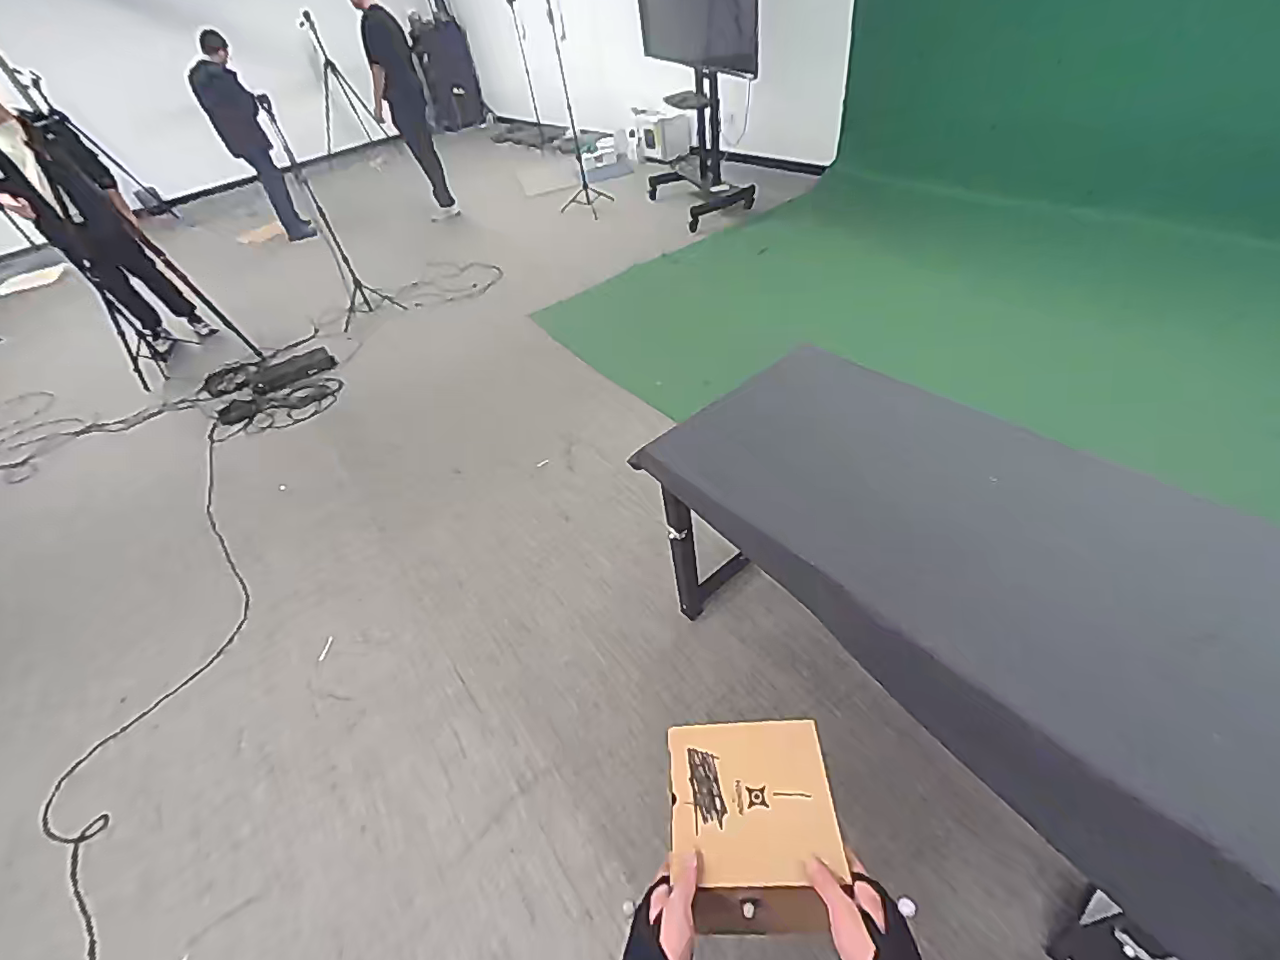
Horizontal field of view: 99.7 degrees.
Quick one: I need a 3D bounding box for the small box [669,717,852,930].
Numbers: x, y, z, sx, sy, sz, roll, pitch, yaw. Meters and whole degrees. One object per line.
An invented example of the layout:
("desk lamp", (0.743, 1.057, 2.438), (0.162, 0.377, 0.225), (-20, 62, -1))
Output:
("small box", (0.131, 0.399, 0.629), (0.179, 0.176, 0.168), (-5, 38, 6))
